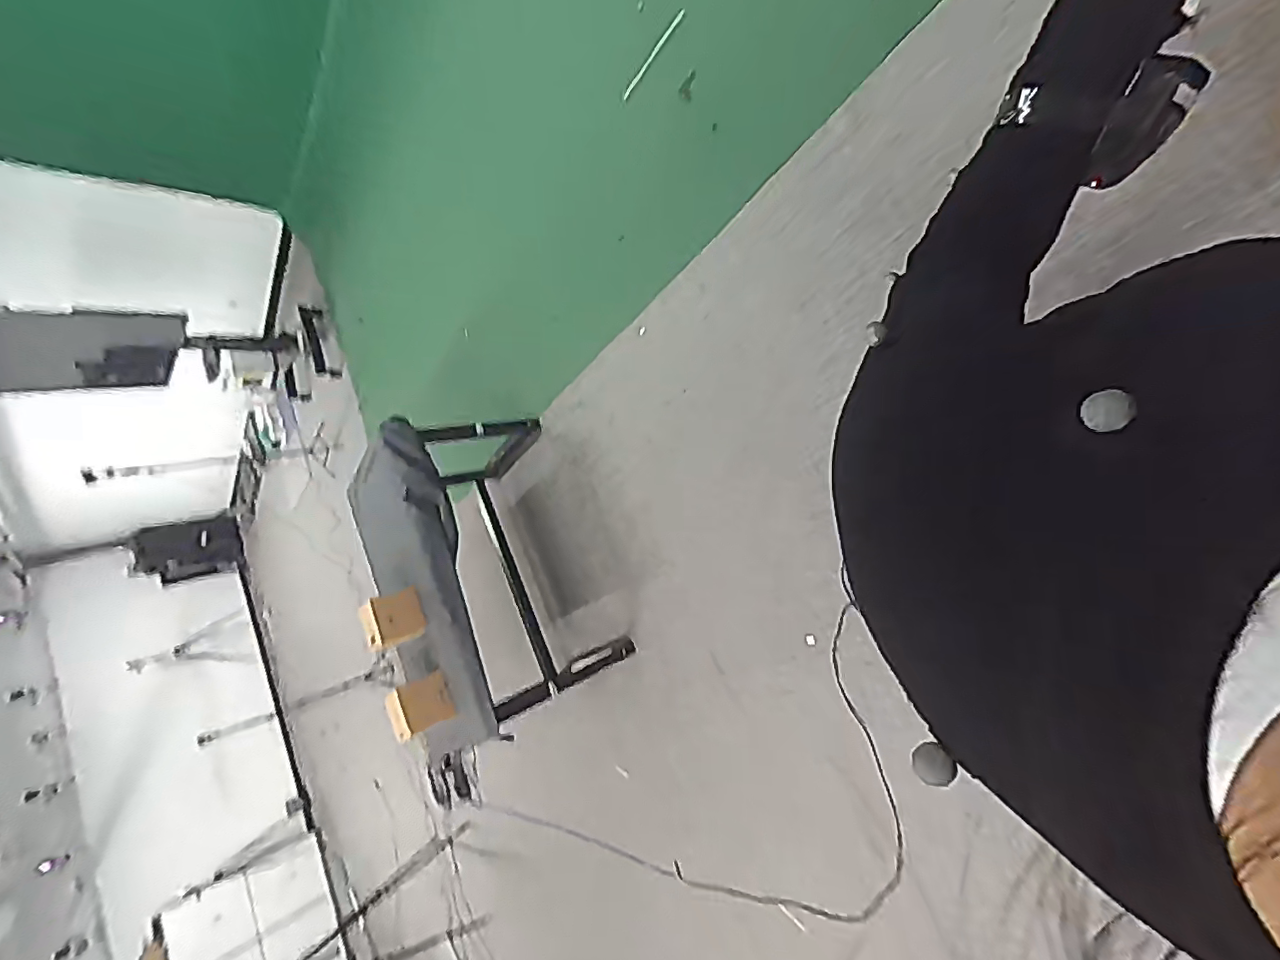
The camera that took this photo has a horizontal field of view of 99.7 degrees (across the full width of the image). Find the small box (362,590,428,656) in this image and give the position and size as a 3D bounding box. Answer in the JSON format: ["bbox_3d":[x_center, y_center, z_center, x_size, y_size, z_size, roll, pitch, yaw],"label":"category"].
[{"bbox_3d":[-0.925,0.538,2.046,0.168,0.176,0.179,-37,72,43],"label":"small box"}]

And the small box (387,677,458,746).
[{"bbox_3d":[-0.796,0.840,1.981,0.168,0.176,0.179,-40,69,42],"label":"small box"}]
